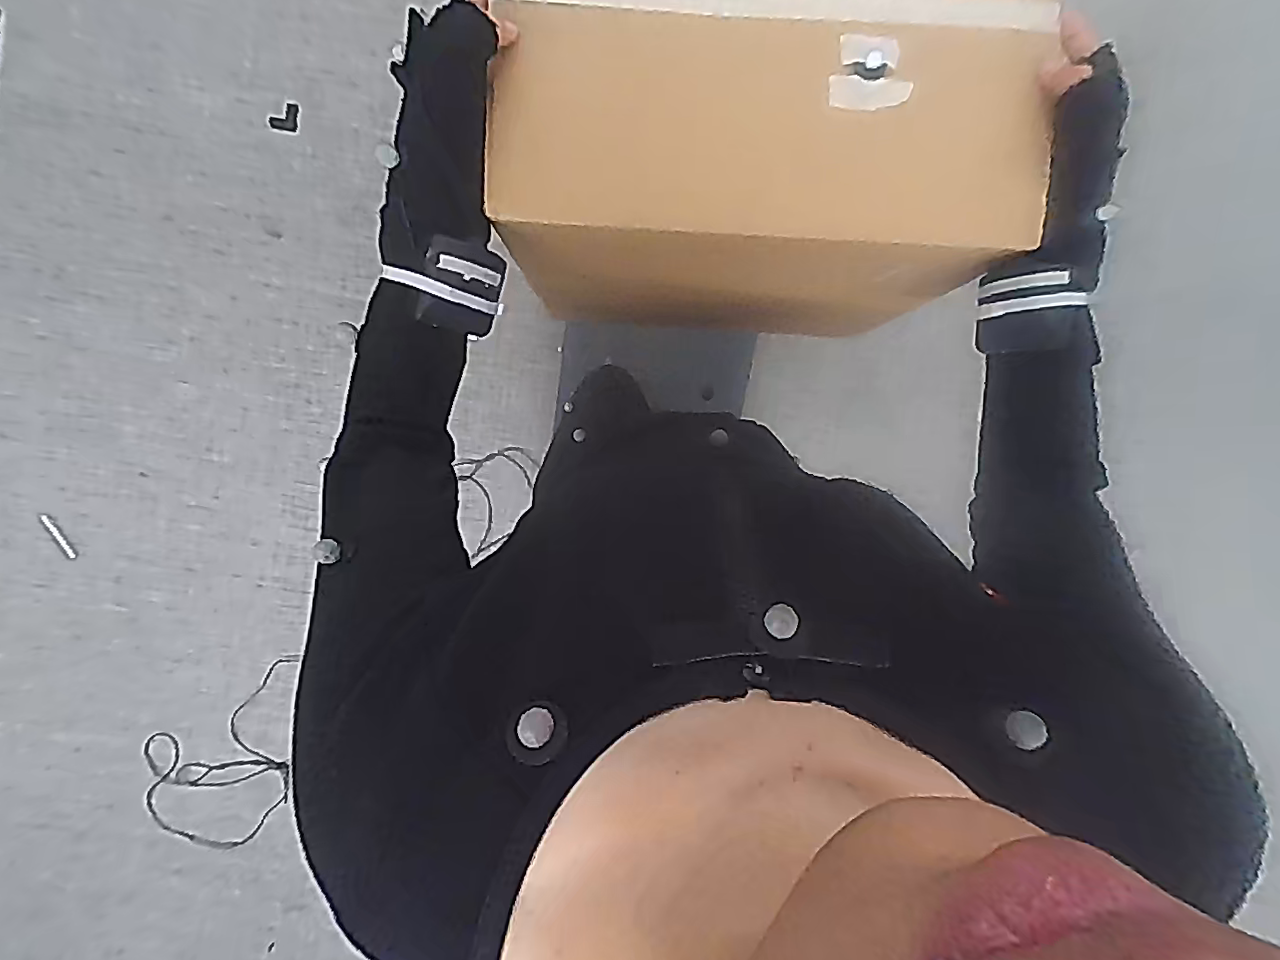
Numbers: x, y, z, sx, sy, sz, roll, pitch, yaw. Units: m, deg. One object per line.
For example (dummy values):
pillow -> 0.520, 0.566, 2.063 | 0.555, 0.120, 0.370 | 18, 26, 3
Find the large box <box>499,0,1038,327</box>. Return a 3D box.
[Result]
large box -> 0.092, -0.349, 0.548 | 0.408, 0.320, 0.320 | 3, 93, -1
